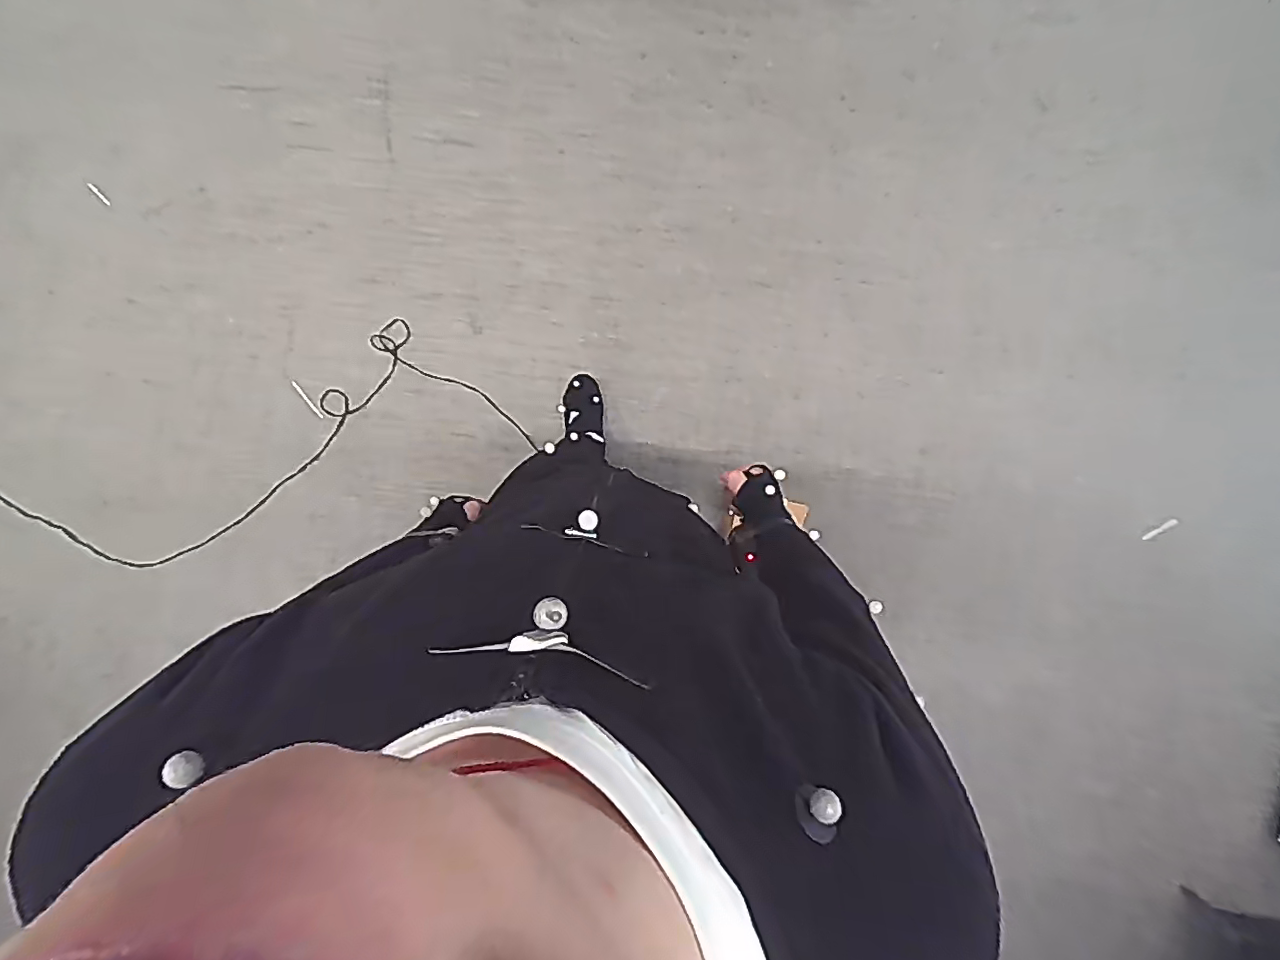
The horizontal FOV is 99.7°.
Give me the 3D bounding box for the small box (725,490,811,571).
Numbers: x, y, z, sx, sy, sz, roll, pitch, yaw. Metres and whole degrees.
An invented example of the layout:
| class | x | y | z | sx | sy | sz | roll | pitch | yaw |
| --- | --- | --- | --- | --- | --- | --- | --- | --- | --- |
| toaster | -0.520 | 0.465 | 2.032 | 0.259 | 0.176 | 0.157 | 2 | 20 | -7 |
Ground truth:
| class | x | y | z | sx | sy | sz | roll | pitch | yaw |
| --- | --- | --- | --- | --- | --- | --- | --- | --- | --- |
| small box | 0.335 | 0.127 | 1.447 | 0.179 | 0.176 | 0.168 | 14 | 95 | 3 |
